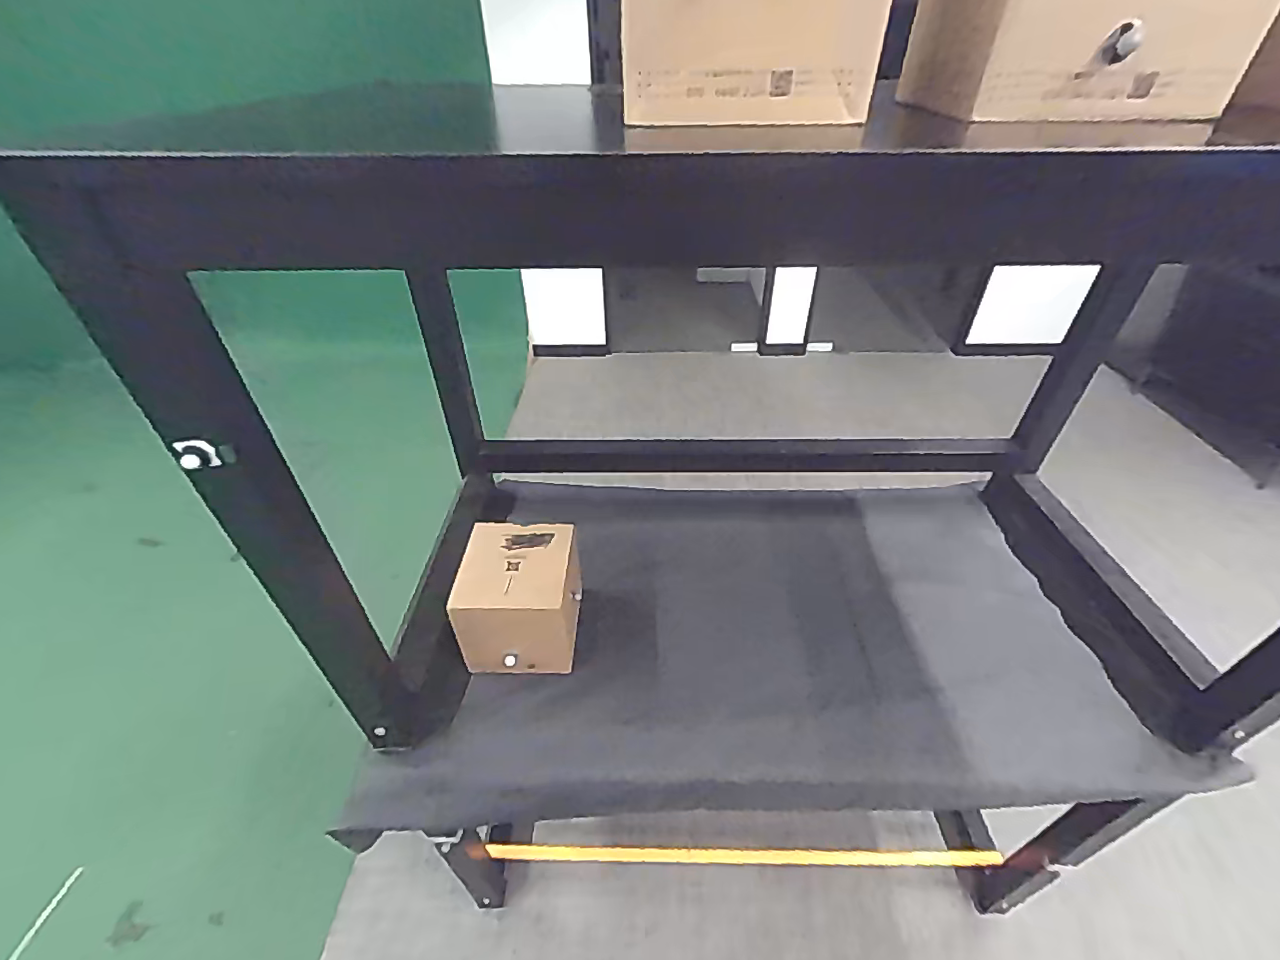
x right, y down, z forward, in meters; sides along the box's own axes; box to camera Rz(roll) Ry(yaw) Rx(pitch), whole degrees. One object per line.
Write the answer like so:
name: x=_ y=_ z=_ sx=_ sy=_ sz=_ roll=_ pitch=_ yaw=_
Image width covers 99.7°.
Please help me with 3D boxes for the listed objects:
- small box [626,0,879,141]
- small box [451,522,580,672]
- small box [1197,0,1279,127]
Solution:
small box: x=0.075 y=-0.358 z=0.401 sx=0.168 sy=0.176 sz=0.179 roll=1 pitch=38 yaw=1
small box: x=-0.190 y=0.189 z=0.884 sx=0.168 sy=0.176 sz=0.179 roll=0 pitch=39 yaw=1
small box: x=0.561 y=-0.338 z=0.366 sx=0.168 sy=0.176 sz=0.179 roll=8 pitch=39 yaw=10
